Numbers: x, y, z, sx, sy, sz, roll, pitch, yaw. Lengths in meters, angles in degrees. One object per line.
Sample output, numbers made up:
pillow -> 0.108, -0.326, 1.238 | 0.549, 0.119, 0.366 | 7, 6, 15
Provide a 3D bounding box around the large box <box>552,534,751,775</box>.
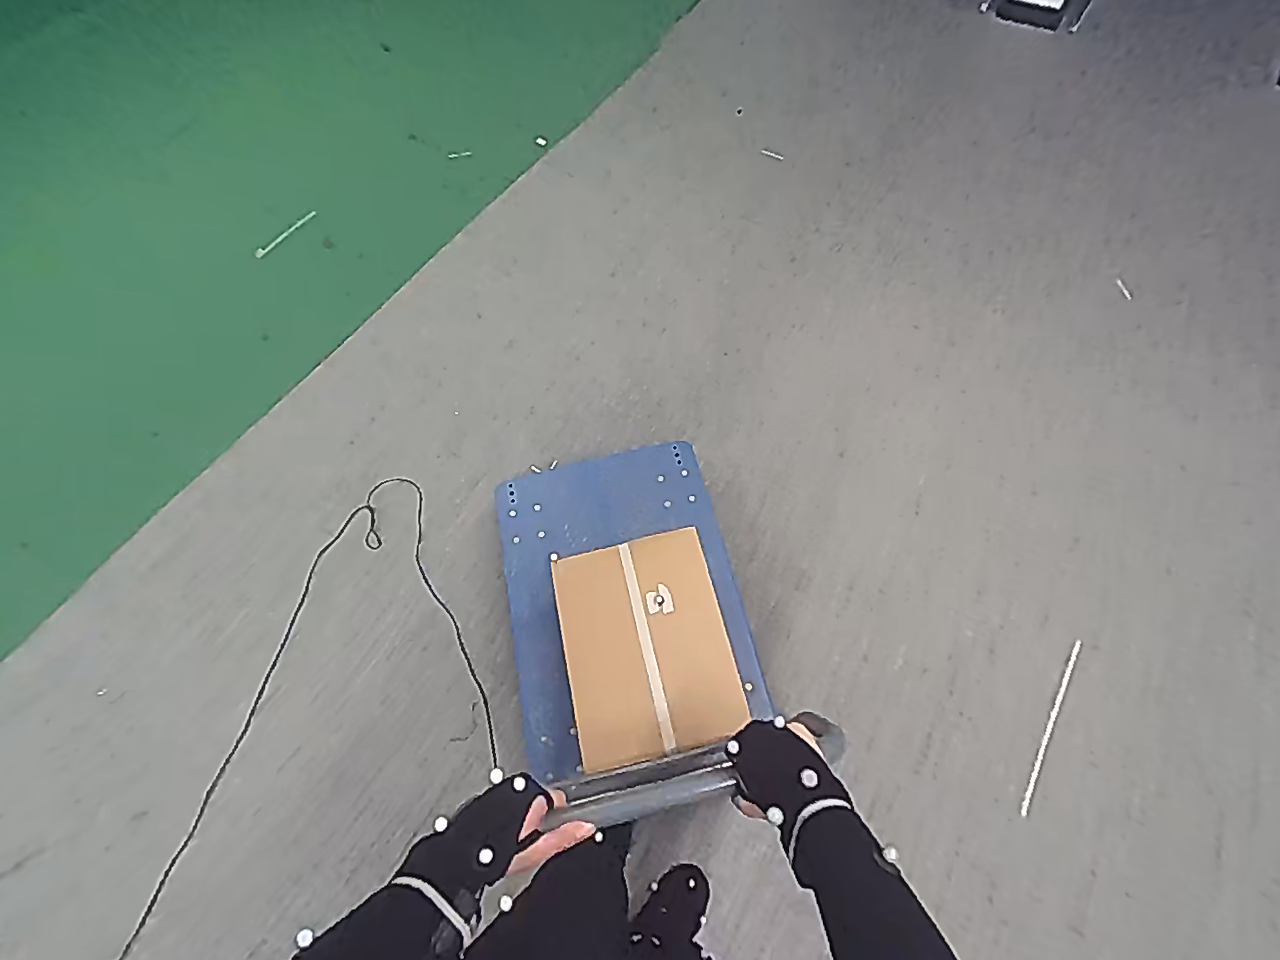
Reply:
large box -> 0.021, 0.387, 1.190 | 0.320, 0.320, 0.408 | -14, 63, -3
